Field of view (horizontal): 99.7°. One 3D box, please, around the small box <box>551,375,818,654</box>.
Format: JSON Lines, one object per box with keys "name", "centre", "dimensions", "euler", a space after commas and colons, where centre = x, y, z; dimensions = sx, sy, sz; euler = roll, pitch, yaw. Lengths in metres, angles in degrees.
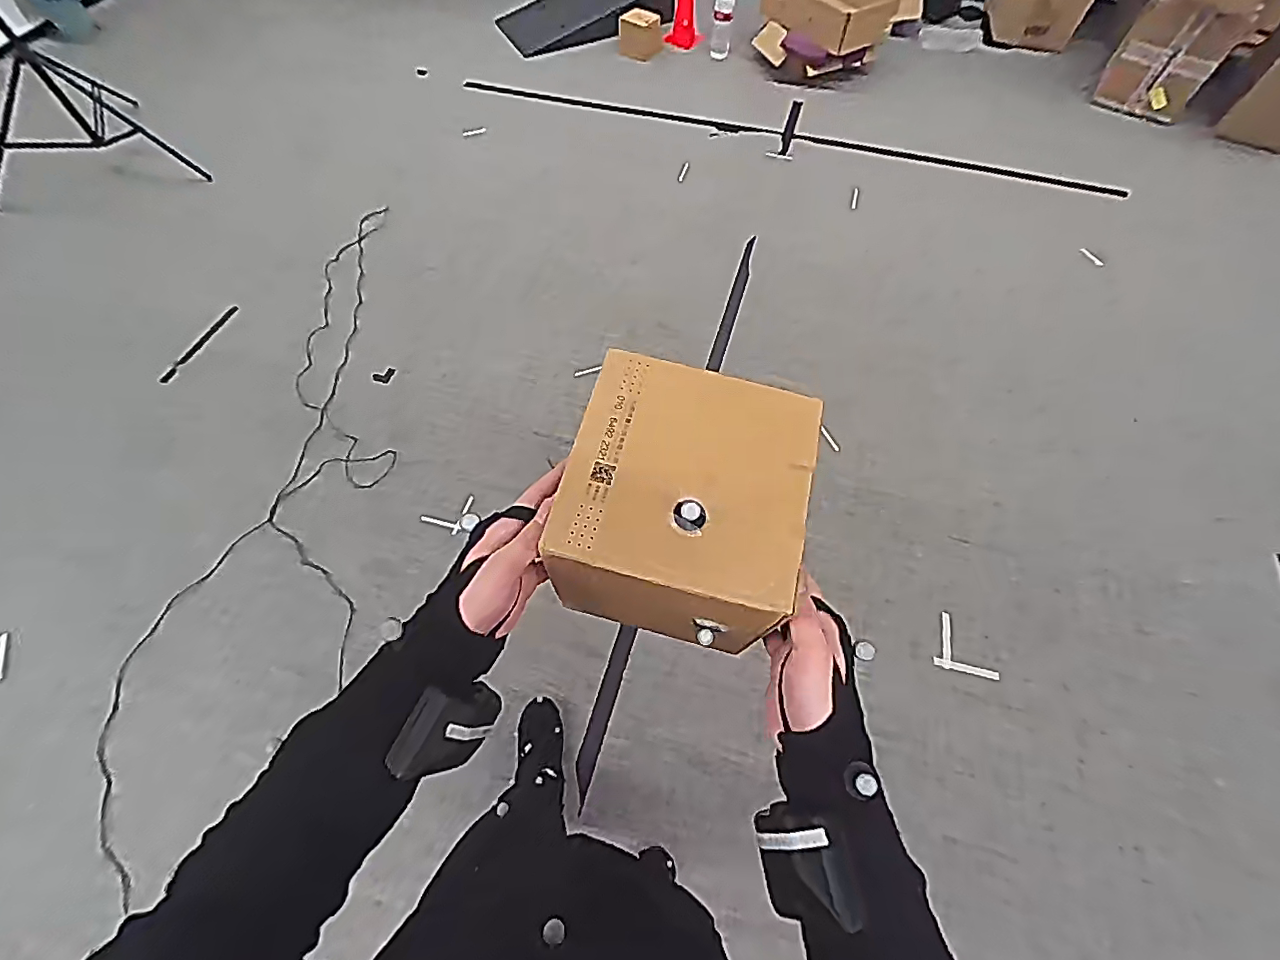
{"name": "small box", "centre": [0.030, 0.031, 0.453], "dimensions": [0.176, 0.179, 0.168], "euler": [15, 64, 3]}
